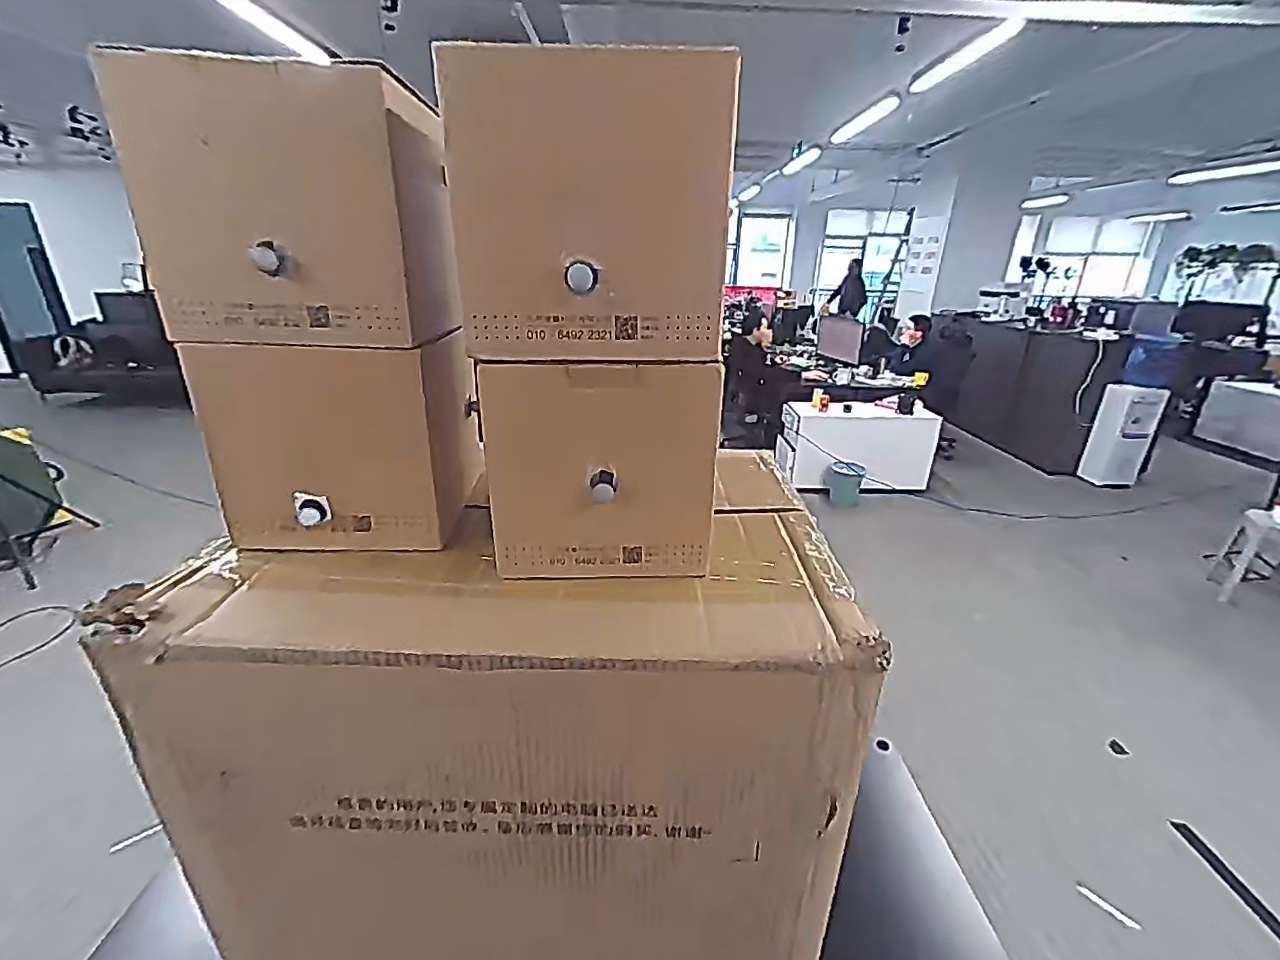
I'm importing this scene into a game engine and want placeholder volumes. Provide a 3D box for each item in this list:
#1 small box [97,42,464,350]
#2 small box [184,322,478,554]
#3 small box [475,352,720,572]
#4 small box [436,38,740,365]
[{"bbox_3d":[-0.241,-0.201,0.420,0.168,0.176,0.179,1,22,-4],"label":"small box"},{"bbox_3d":[-0.245,-0.049,0.484,0.168,0.176,0.179,0,23,-6],"label":"small box"},{"bbox_3d":[-0.030,-0.034,0.460,0.168,0.176,0.179,0,23,-3],"label":"small box"},{"bbox_3d":[-0.030,-0.184,0.392,0.168,0.176,0.179,0,23,-1],"label":"small box"}]
